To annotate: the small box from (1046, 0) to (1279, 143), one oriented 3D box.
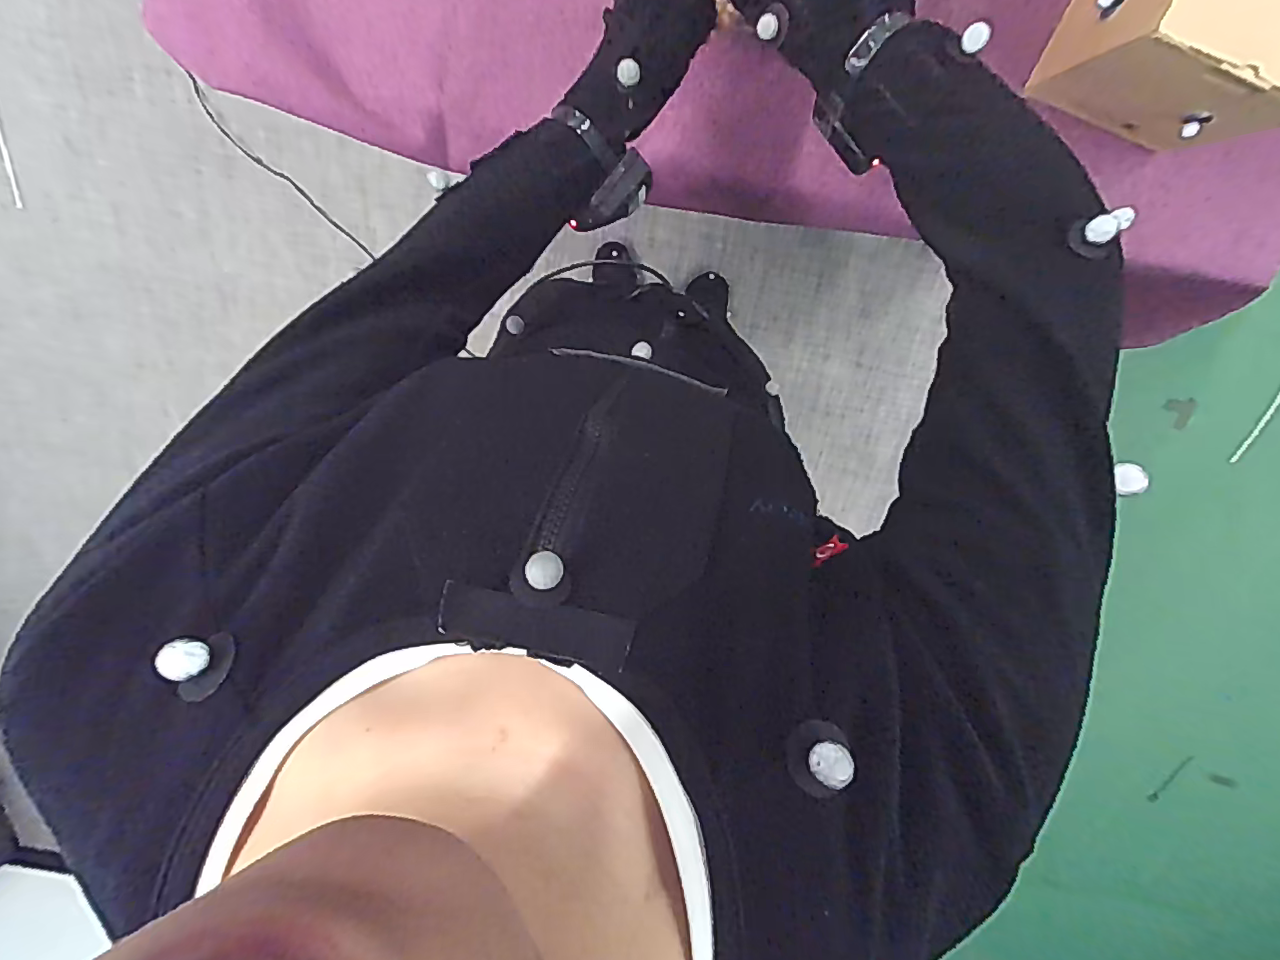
[{"bbox_3d":[0.486,-0.406,0.440,0.168,0.176,0.179,20,113,-5],"label":"small box"}]
